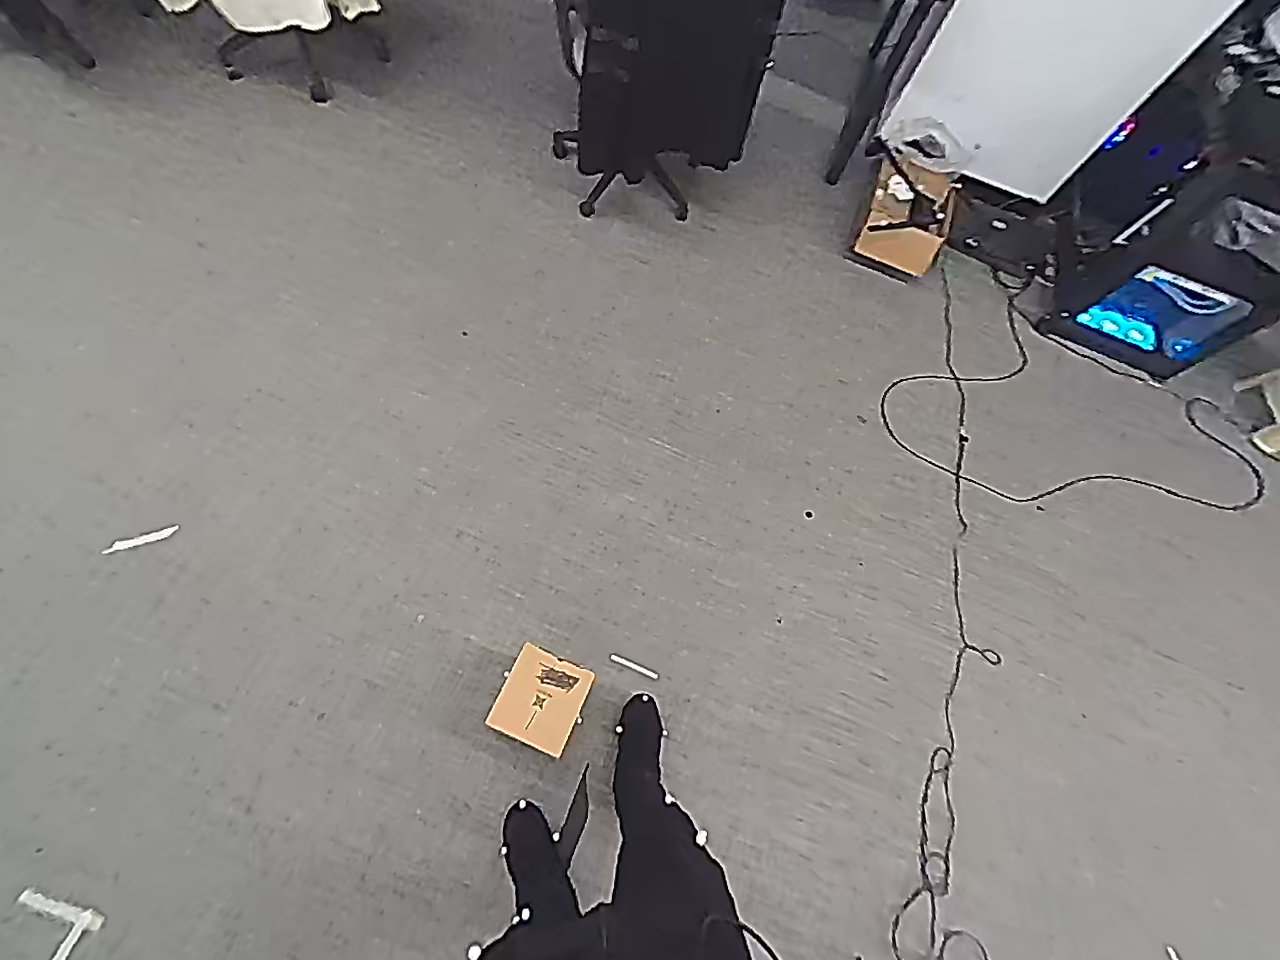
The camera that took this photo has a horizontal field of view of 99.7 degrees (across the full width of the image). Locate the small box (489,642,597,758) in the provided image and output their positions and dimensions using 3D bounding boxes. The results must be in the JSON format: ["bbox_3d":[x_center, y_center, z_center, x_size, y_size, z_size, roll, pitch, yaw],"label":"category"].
[{"bbox_3d":[-0.208,0.476,1.175,0.168,0.176,0.179,25,66,2],"label":"small box"}]
